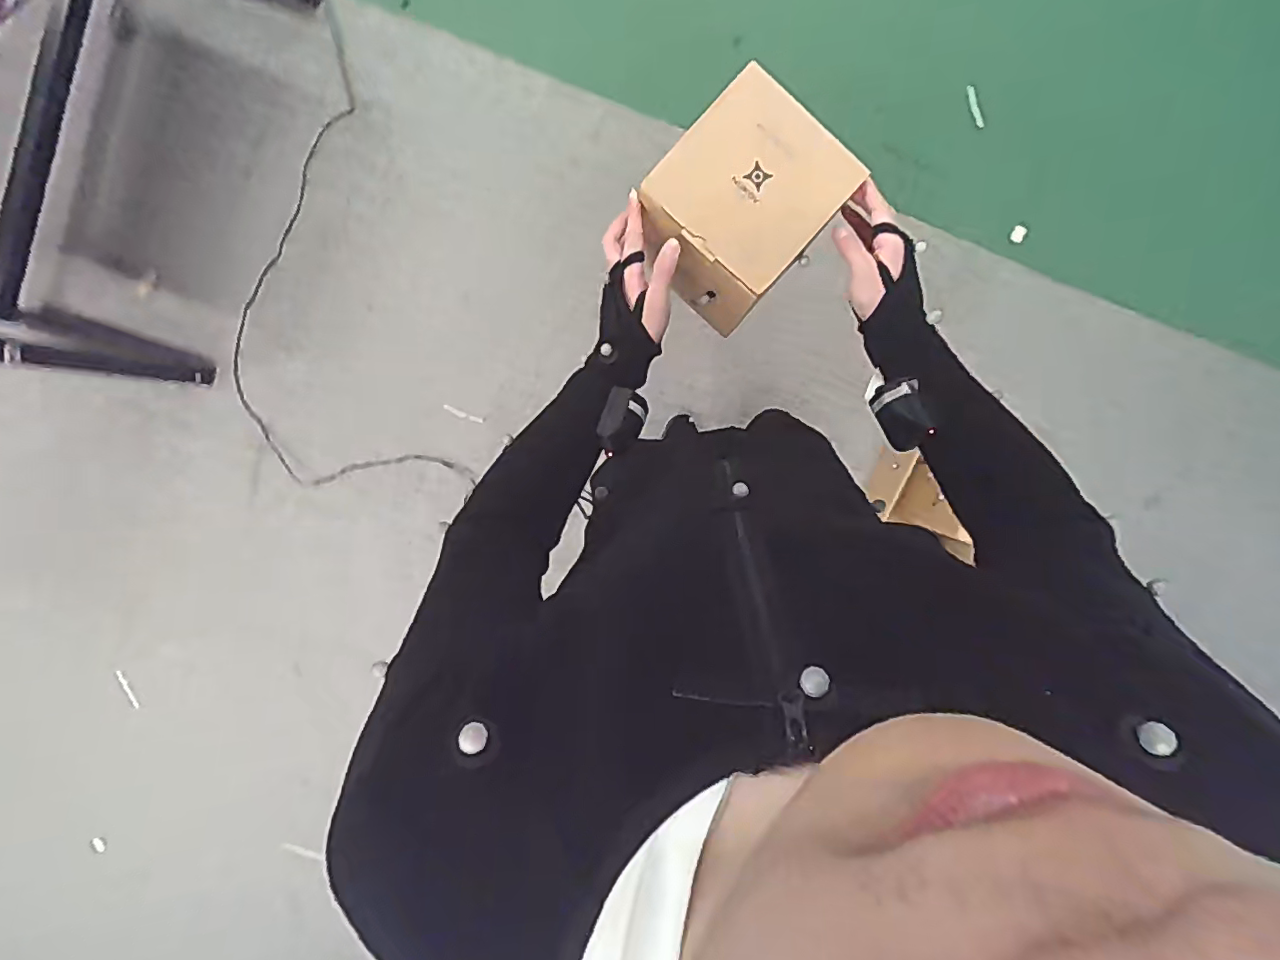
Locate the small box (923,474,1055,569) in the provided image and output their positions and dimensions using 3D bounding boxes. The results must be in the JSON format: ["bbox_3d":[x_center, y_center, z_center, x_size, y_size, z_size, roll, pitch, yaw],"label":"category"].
[{"bbox_3d":[0.839,0.092,1.318,0.179,0.176,0.168,23,95,-1],"label":"small box"}]
